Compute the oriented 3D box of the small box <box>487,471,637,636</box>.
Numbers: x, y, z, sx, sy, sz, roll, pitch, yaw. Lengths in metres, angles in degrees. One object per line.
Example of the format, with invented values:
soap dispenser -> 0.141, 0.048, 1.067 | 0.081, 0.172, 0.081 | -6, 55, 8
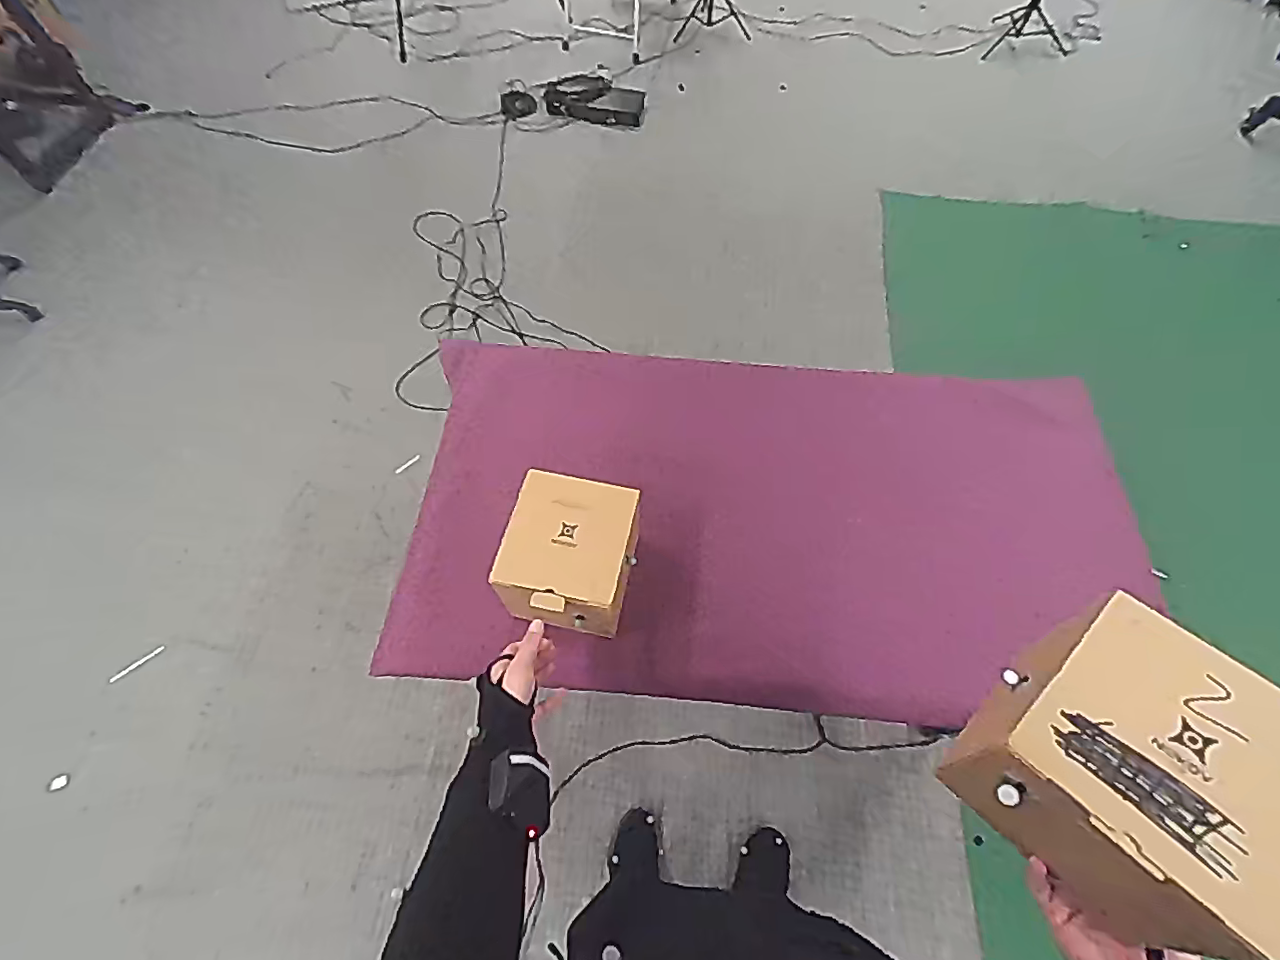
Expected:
small box -> -0.102, 0.115, 0.801 | 0.168, 0.176, 0.179 | 12, 60, 5
